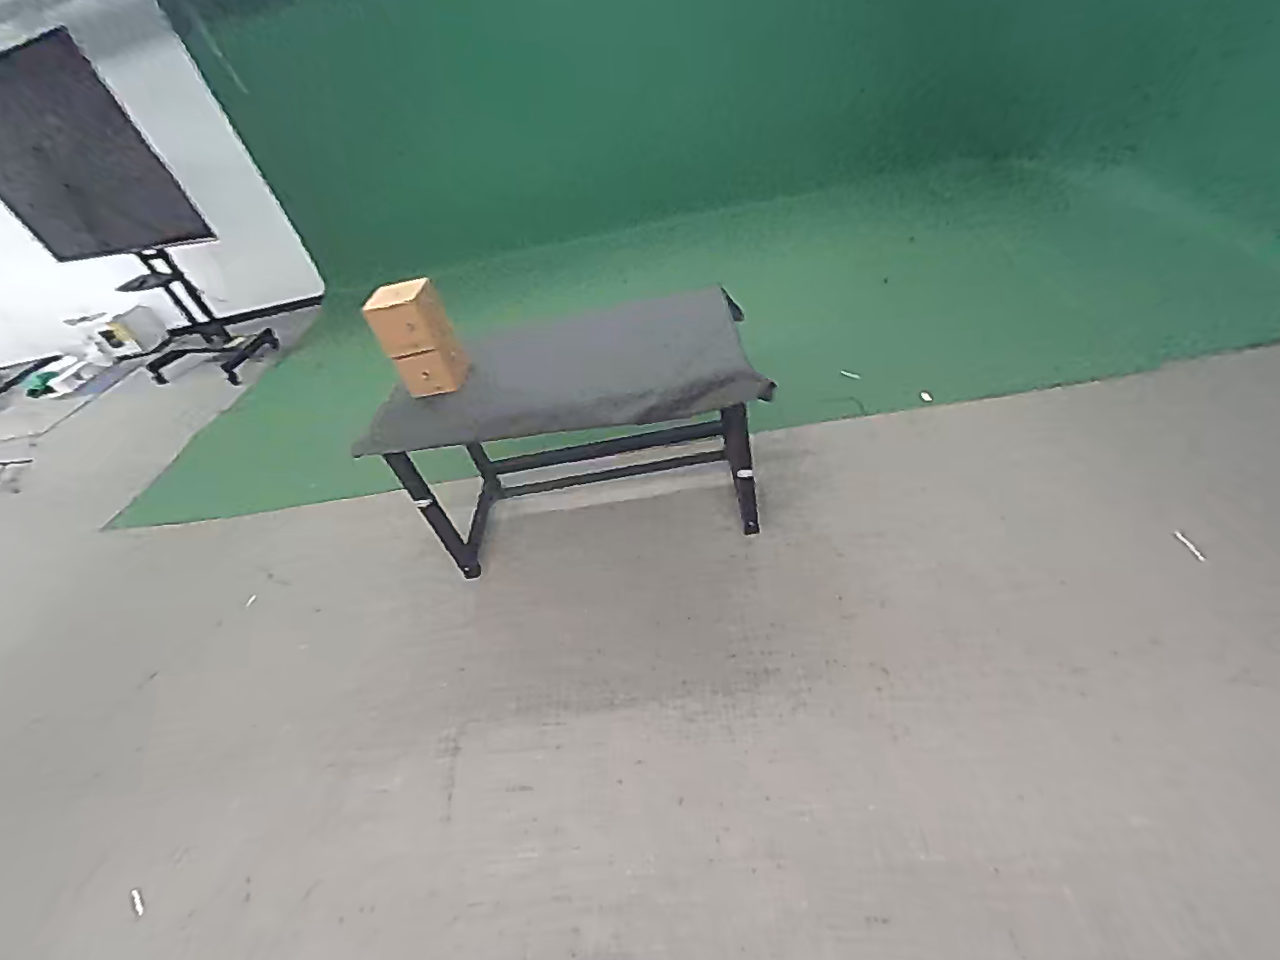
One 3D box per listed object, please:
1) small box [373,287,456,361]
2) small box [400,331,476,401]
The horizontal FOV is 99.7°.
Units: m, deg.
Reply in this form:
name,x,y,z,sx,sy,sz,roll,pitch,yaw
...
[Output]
name,x,y,z,sx,sy,sz,roll,pitch,yaw
small box,-0.720,-0.498,1.752,0.168,0.176,0.179,-9,40,6
small box,-0.688,-0.387,1.867,0.168,0.176,0.179,-8,41,9
